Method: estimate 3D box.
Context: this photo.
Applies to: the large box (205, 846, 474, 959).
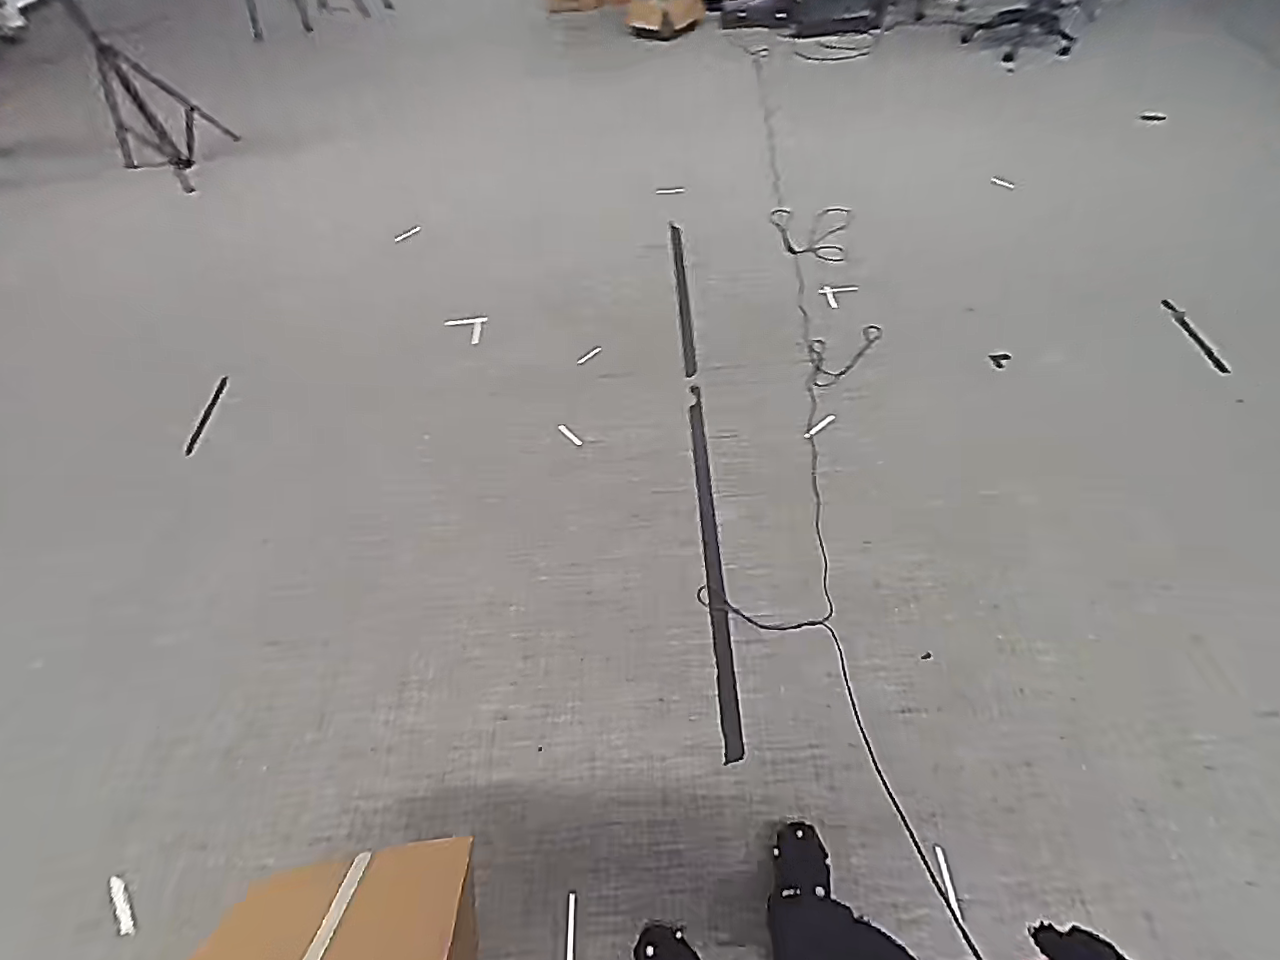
[{"bbox_3d":[-0.374,0.733,0.646,0.320,0.408,0.320,-3,87,-10],"label":"large box"}]
